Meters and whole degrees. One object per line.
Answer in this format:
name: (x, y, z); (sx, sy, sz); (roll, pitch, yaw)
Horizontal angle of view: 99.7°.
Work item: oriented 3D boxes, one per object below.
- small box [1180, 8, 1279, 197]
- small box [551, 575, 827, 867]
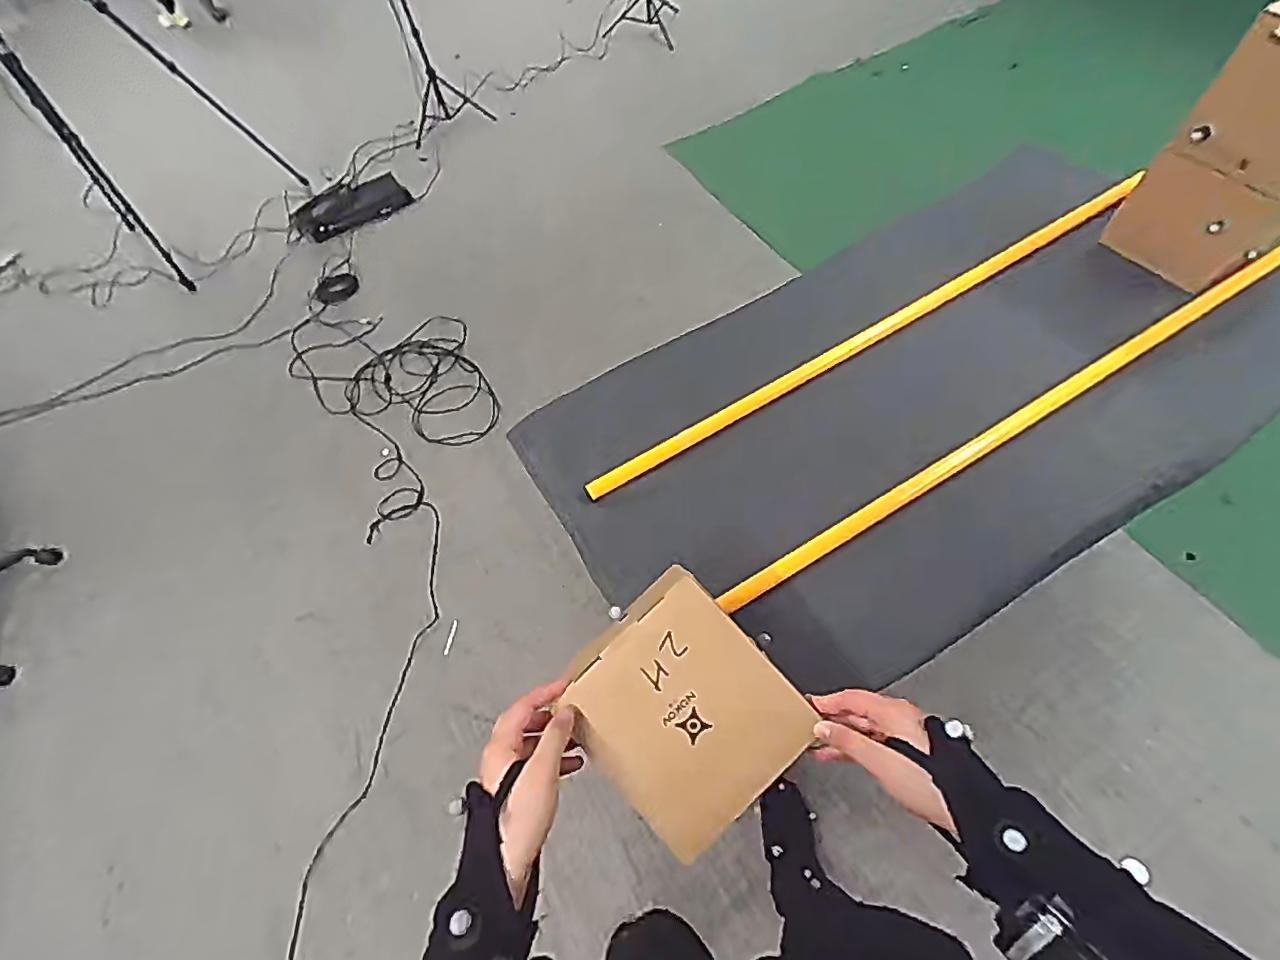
small box: (0.898, -0.516, 0.722); (0.179, 0.176, 0.168); (-25, 61, -8)
small box: (0.042, 0.209, 0.531); (0.168, 0.176, 0.179); (-43, 85, -5)
